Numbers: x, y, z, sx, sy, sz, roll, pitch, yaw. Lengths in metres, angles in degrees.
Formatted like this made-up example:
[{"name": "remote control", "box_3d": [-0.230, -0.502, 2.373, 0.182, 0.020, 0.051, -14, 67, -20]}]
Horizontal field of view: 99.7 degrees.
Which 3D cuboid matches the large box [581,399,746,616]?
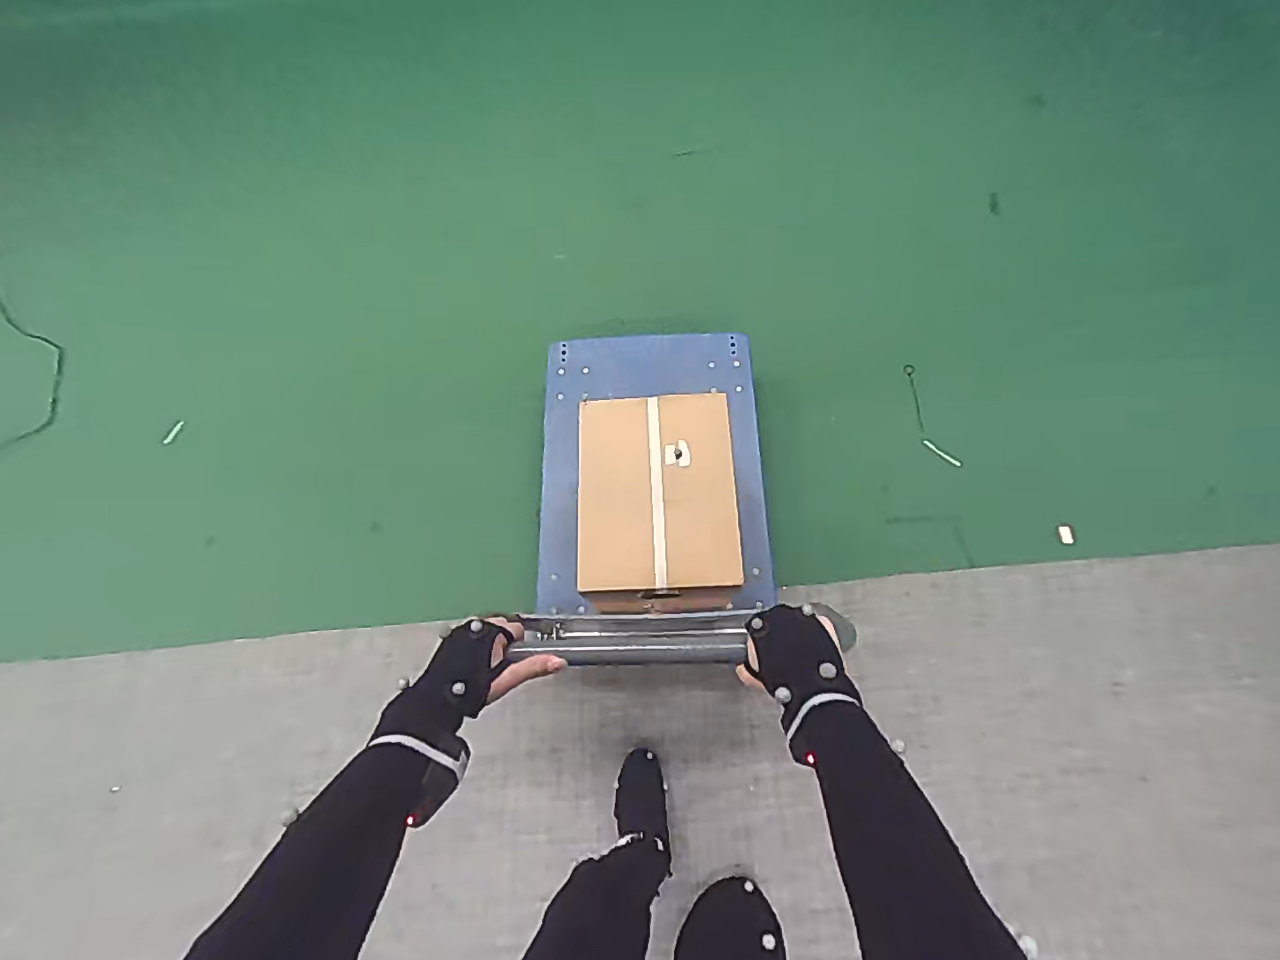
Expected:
[{"name": "large box", "box_3d": [0.047, 0.077, 1.214, 0.320, 0.320, 0.408, -2, 69, 2]}]
